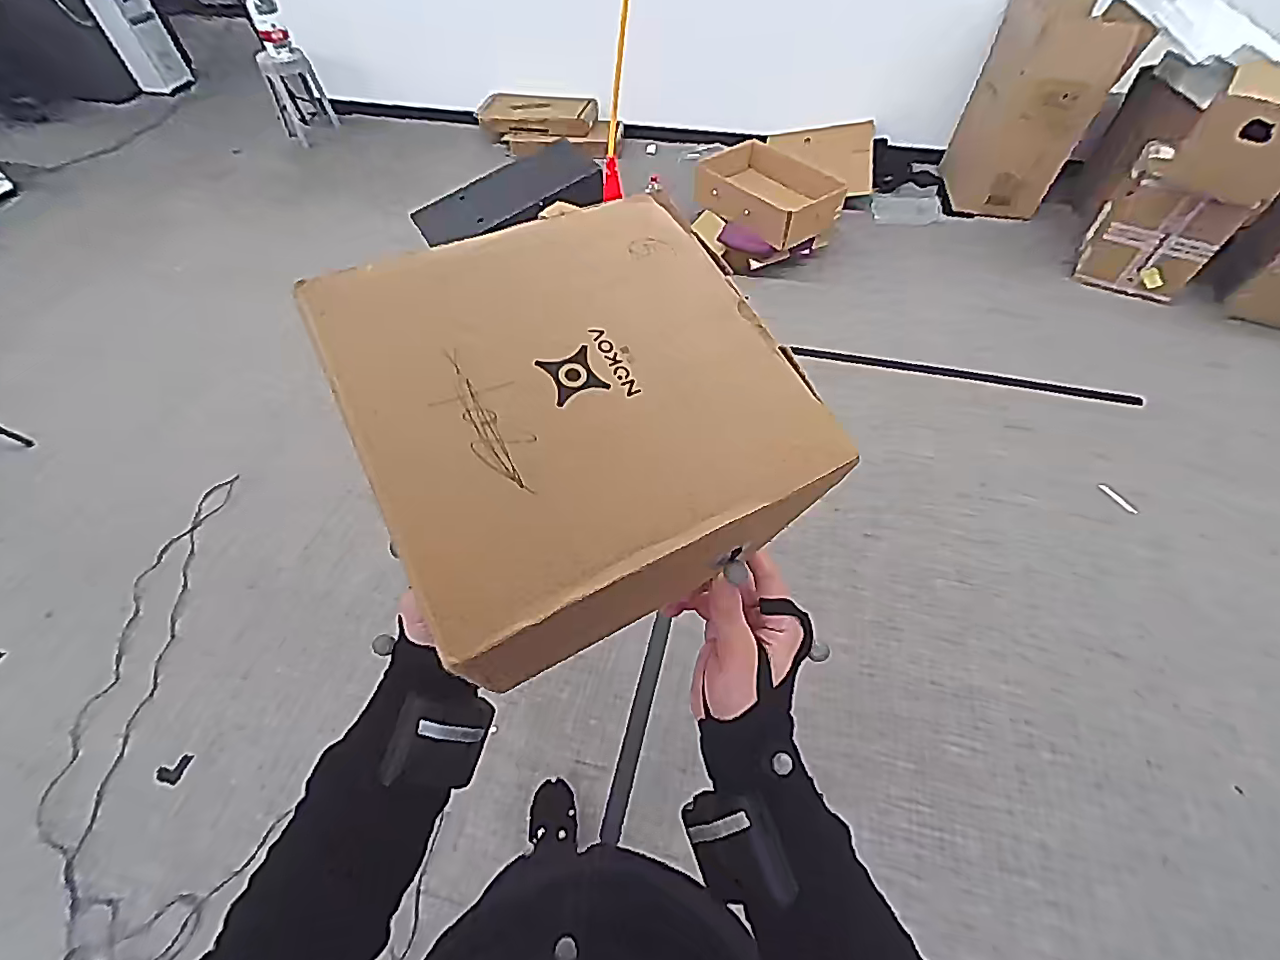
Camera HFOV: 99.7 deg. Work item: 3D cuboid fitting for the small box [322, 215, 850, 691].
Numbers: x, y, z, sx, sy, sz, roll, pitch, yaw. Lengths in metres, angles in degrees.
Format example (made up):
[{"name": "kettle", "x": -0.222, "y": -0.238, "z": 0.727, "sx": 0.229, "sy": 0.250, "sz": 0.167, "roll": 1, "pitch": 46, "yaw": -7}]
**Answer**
[{"name": "small box", "x": -0.032, "y": -0.003, "z": 0.300, "sx": 0.179, "sy": 0.176, "sz": 0.168, "roll": -26, "pitch": 72, "yaw": -18}]
